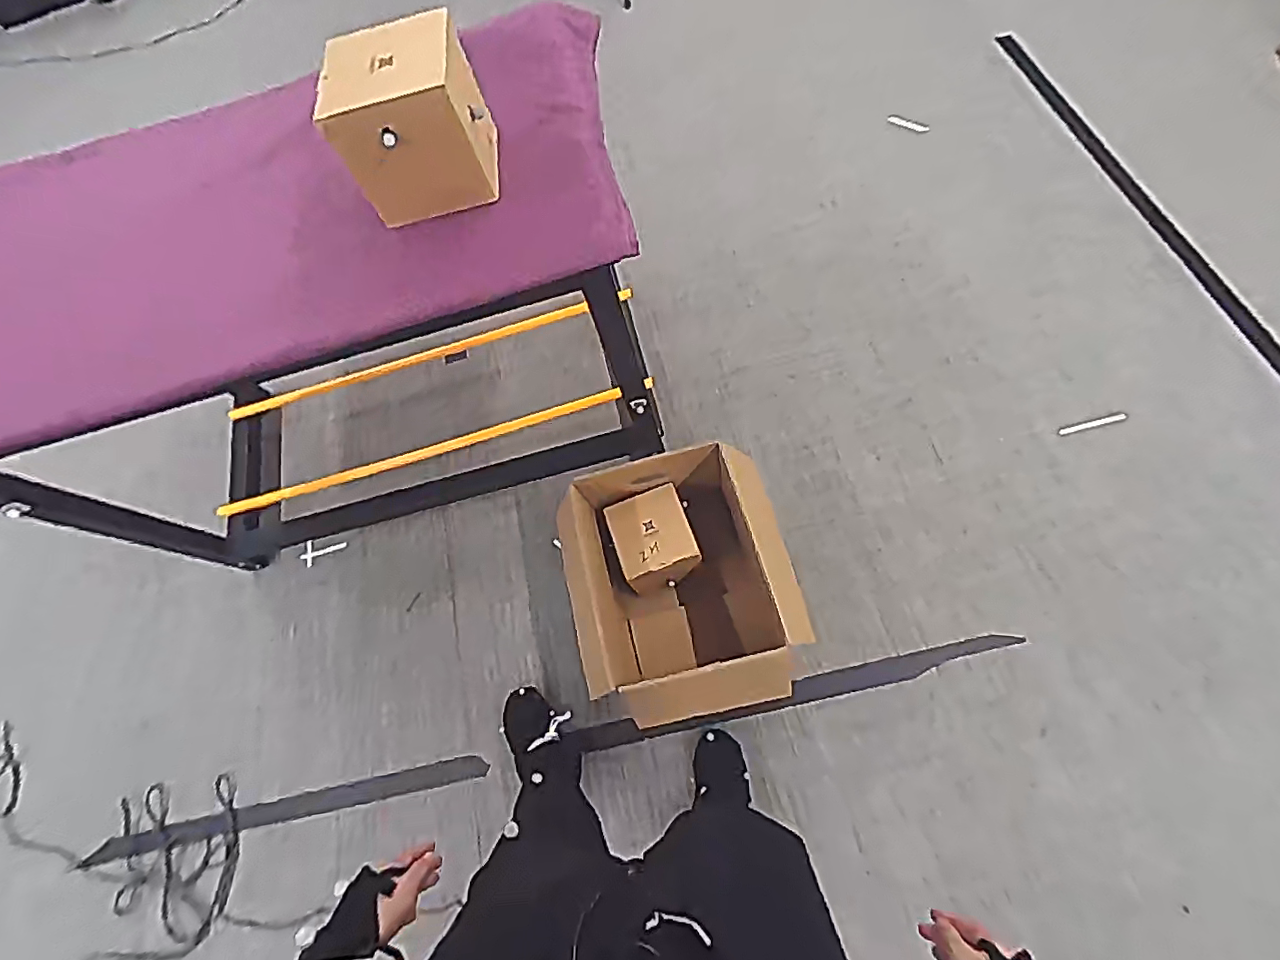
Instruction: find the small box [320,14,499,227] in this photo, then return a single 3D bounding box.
[{"bbox_3d":[-0.307,-0.494,0.762,0.179,0.176,0.168,-11,66,6],"label":"small box"}]
